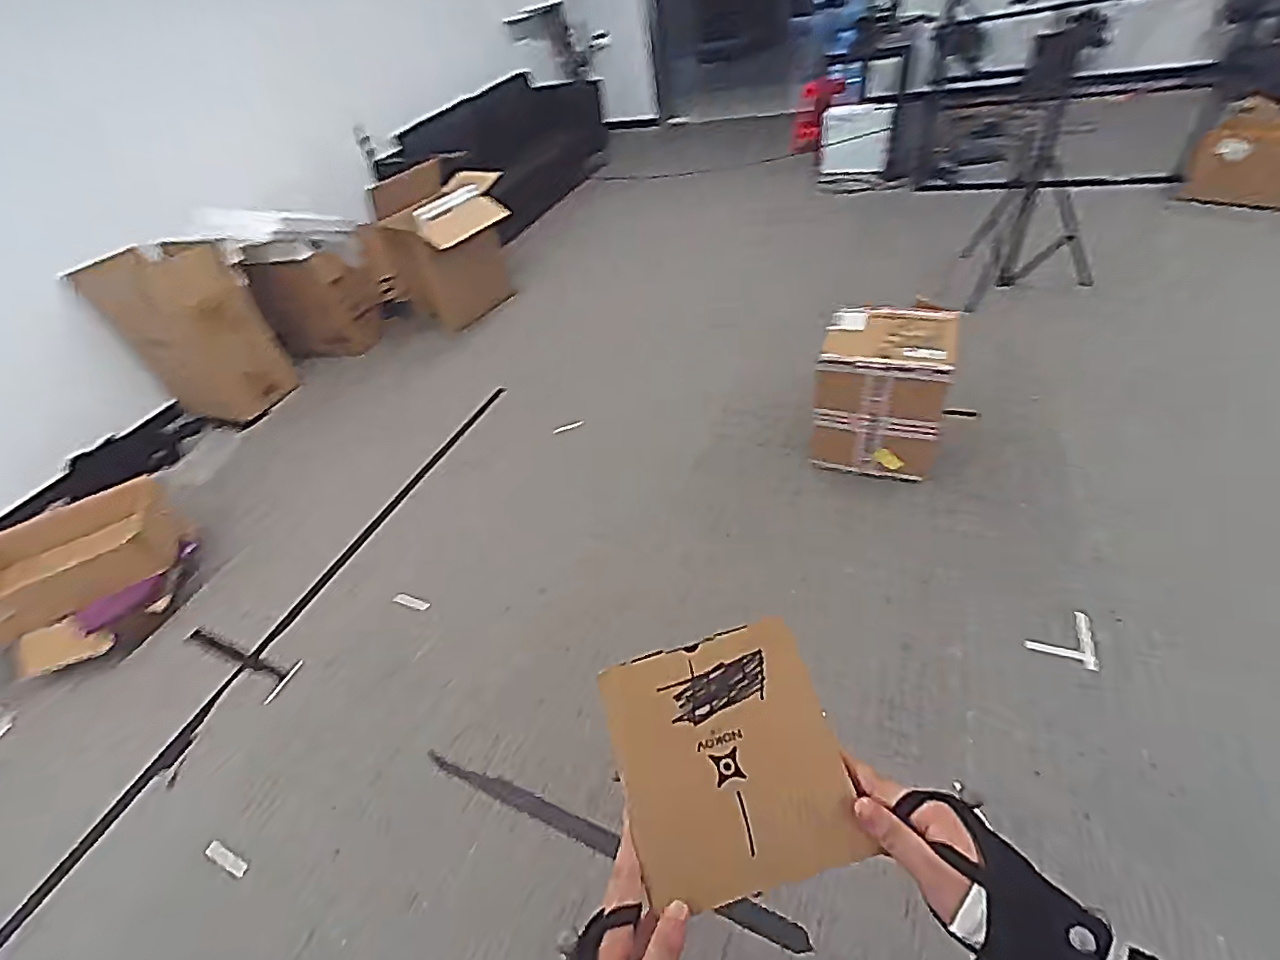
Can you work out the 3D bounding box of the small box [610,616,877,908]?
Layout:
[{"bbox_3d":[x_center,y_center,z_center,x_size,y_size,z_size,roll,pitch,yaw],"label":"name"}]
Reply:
[{"bbox_3d":[0.078,0.246,0.488,0.168,0.176,0.179,-15,61,-1],"label":"small box"}]
